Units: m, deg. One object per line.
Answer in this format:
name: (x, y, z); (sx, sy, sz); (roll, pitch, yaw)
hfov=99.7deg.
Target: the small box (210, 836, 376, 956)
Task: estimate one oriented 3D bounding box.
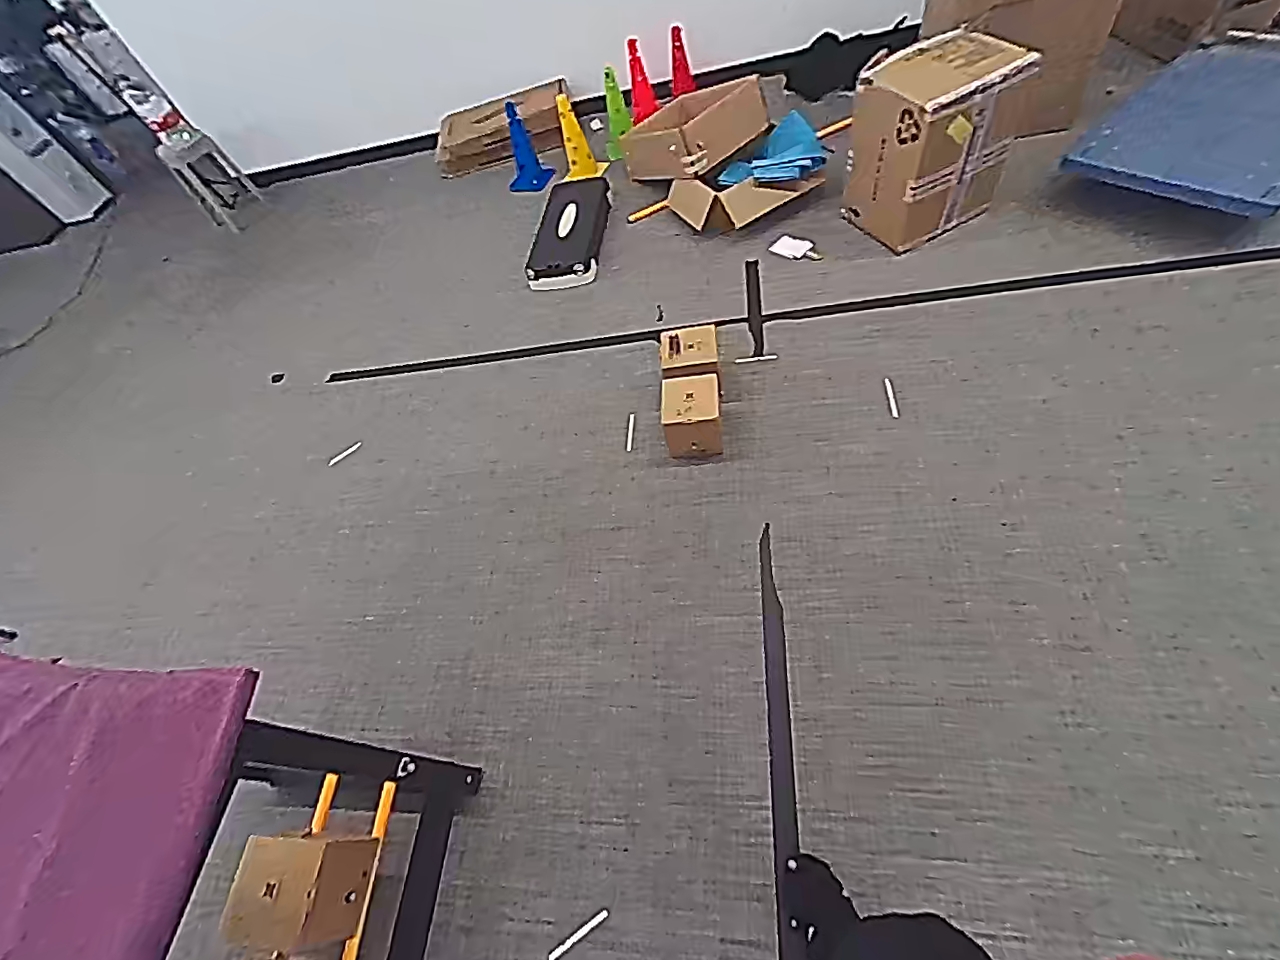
small box: (-0.655, 0.792, 1.044); (0.179, 0.176, 0.168); (-4, 57, 10)
